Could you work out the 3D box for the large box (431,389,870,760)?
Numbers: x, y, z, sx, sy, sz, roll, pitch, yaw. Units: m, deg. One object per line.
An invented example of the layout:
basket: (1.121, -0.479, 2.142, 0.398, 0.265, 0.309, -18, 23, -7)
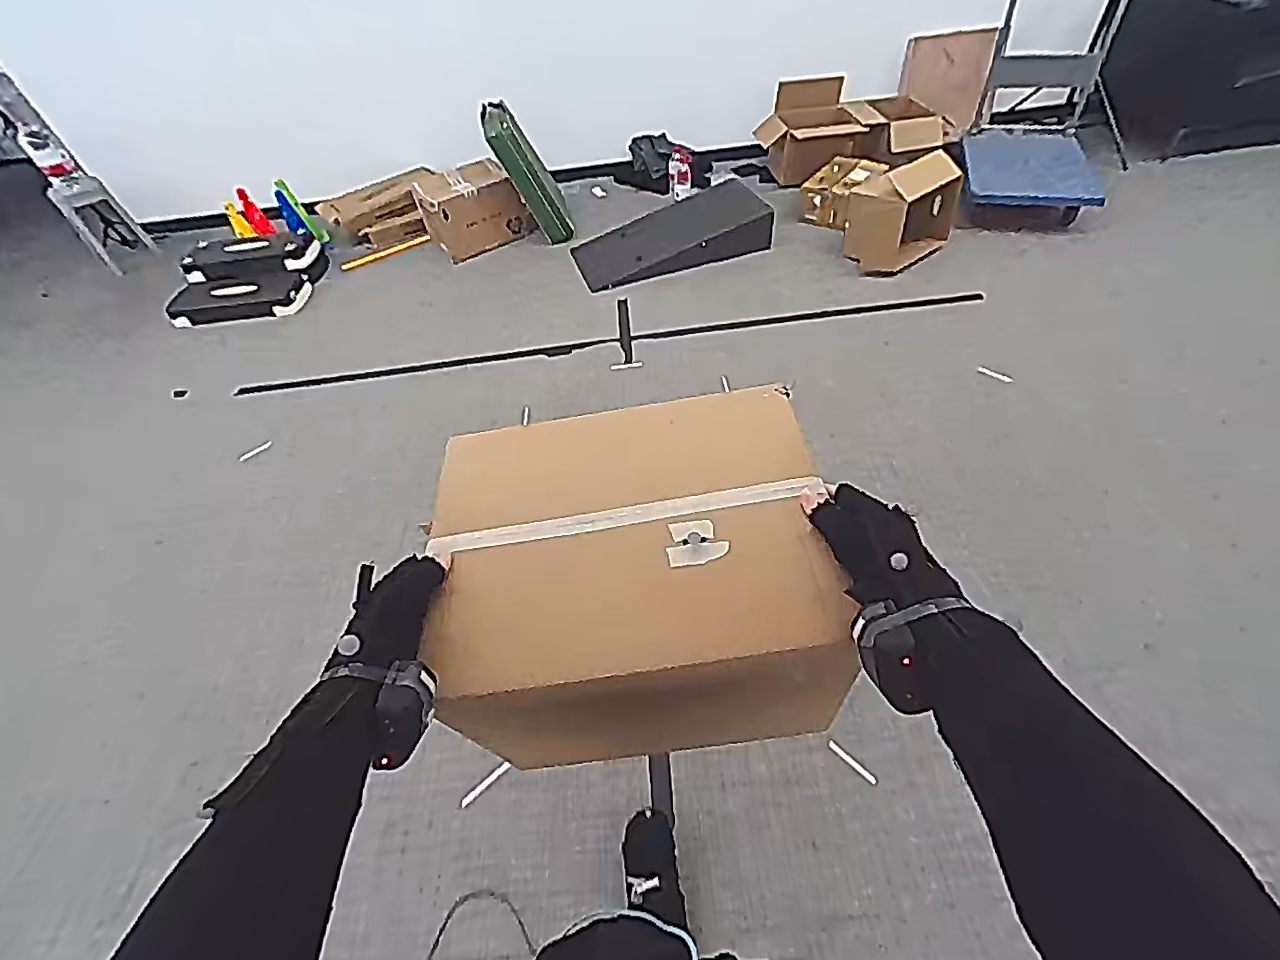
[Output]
large box: (0.008, 0.129, 0.683, 0.408, 0.320, 0.320, -9, 52, 2)
